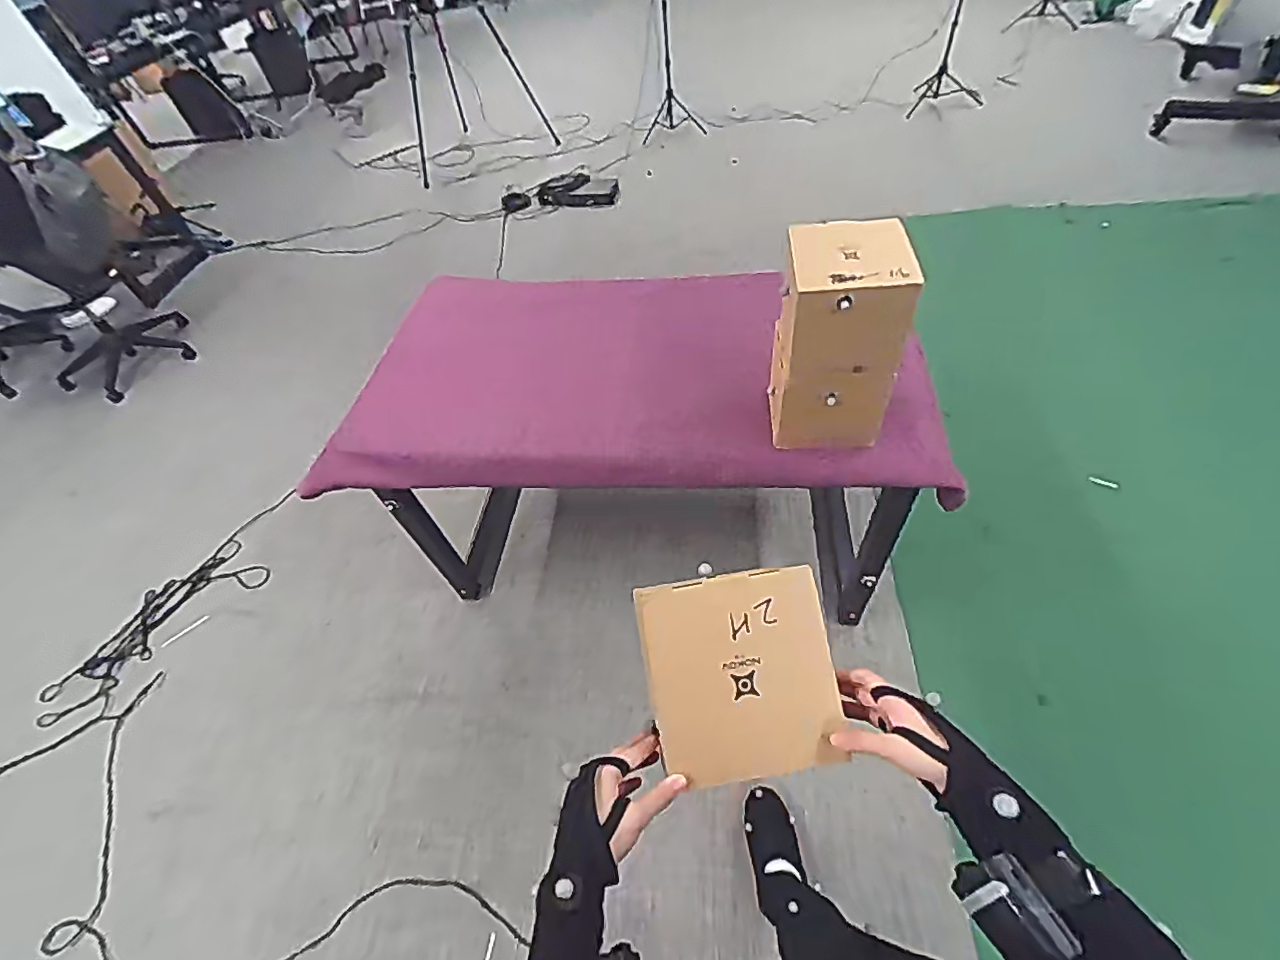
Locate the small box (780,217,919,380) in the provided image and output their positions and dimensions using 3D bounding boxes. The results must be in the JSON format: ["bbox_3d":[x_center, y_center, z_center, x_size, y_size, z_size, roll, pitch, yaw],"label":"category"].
[{"bbox_3d":[0.309,-0.278,0.839,0.168,0.176,0.179,-2,52,11],"label":"small box"}]

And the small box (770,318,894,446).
[{"bbox_3d":[0.330,-0.176,0.966,0.179,0.176,0.168,-2,53,10],"label":"small box"}]

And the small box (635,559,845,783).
[{"bbox_3d":[0.088,0.185,0.570,0.168,0.176,0.179,-9,79,-4],"label":"small box"}]
